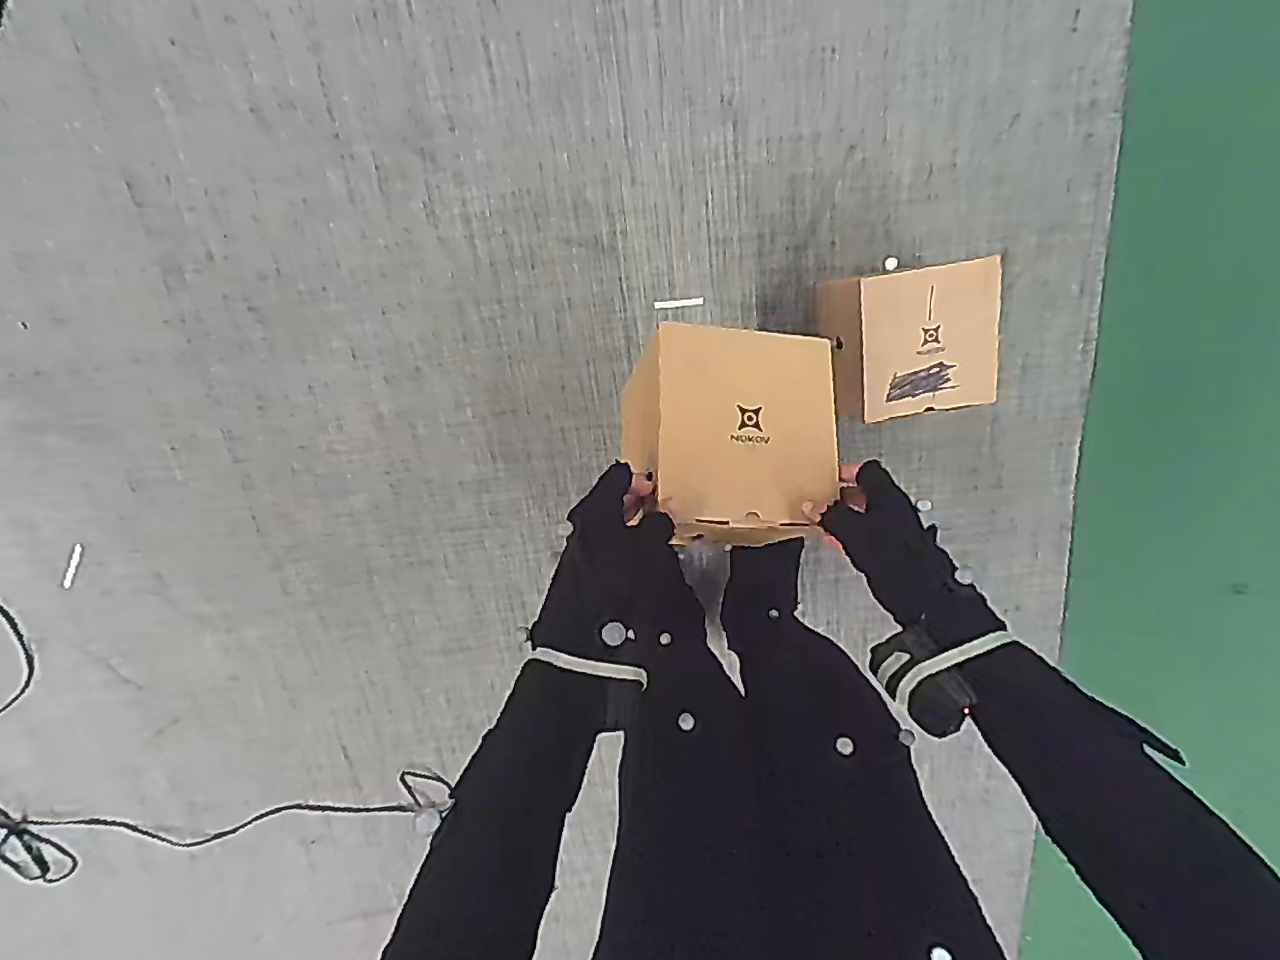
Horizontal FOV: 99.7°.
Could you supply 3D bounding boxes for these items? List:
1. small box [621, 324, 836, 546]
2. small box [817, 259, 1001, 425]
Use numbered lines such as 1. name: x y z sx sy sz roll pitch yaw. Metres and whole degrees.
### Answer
1. small box: 0.074 -0.031 0.544 0.168 0.176 0.179 3 78 -11
2. small box: 0.346 -0.186 0.723 0.168 0.176 0.179 -9 107 3
